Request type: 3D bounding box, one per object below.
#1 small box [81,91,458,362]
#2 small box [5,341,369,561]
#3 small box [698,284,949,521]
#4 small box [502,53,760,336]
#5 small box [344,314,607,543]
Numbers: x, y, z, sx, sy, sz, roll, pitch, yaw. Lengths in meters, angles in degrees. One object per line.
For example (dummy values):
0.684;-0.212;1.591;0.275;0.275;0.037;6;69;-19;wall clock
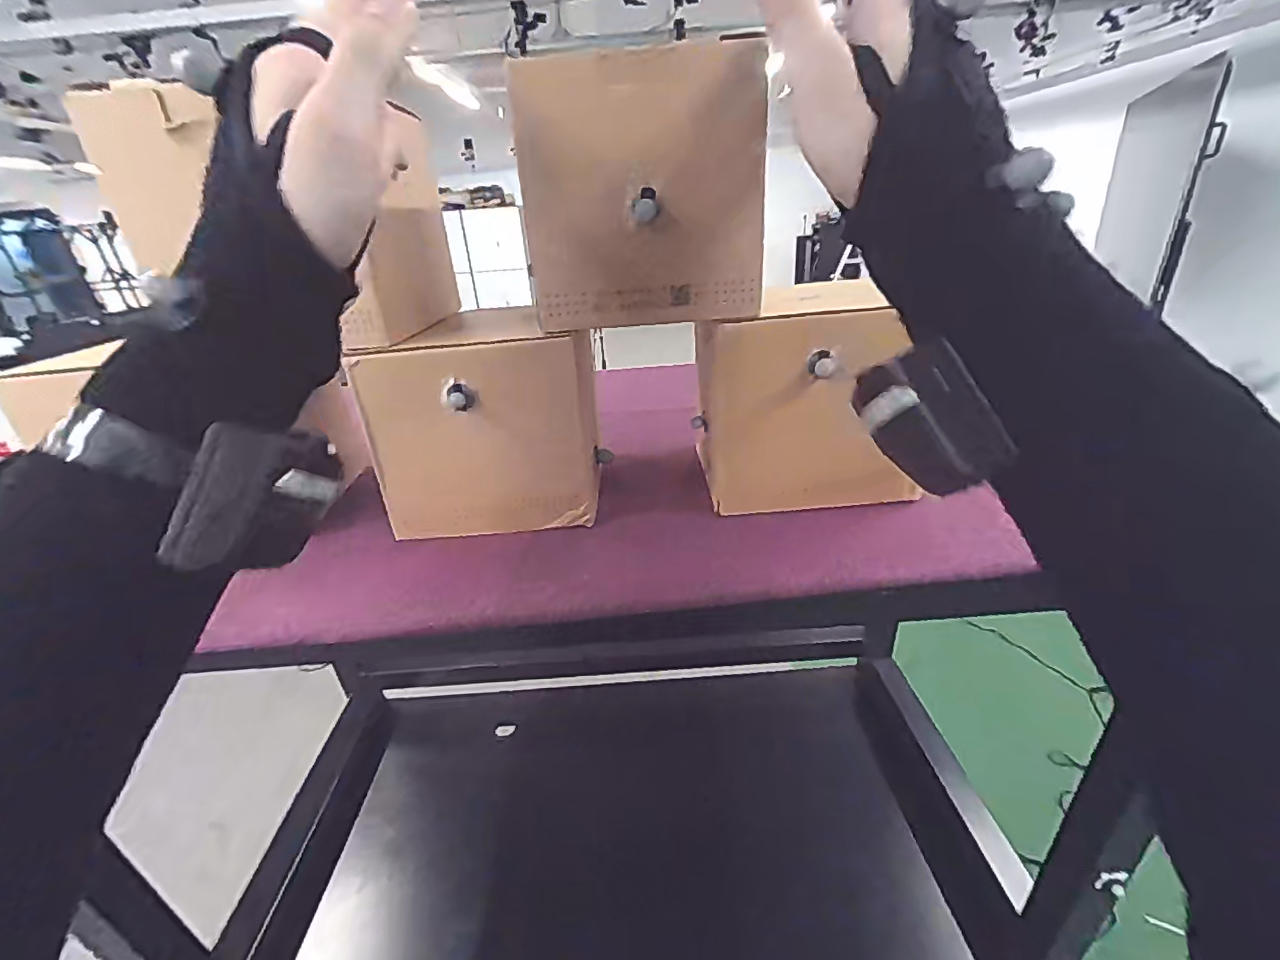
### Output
-0.267;-0.196;0.448;0.168;0.176;0.179;-3;25;2;small box
-0.397;-0.036;0.517;0.179;0.176;0.168;-5;27;-1;small box
0.148;-0.077;0.503;0.179;0.176;0.168;-6;26;2;small box
0.001;-0.215;0.441;0.168;0.176;0.179;-4;26;1;small box
-0.130;-0.052;0.505;0.179;0.176;0.168;-4;26;1;small box
